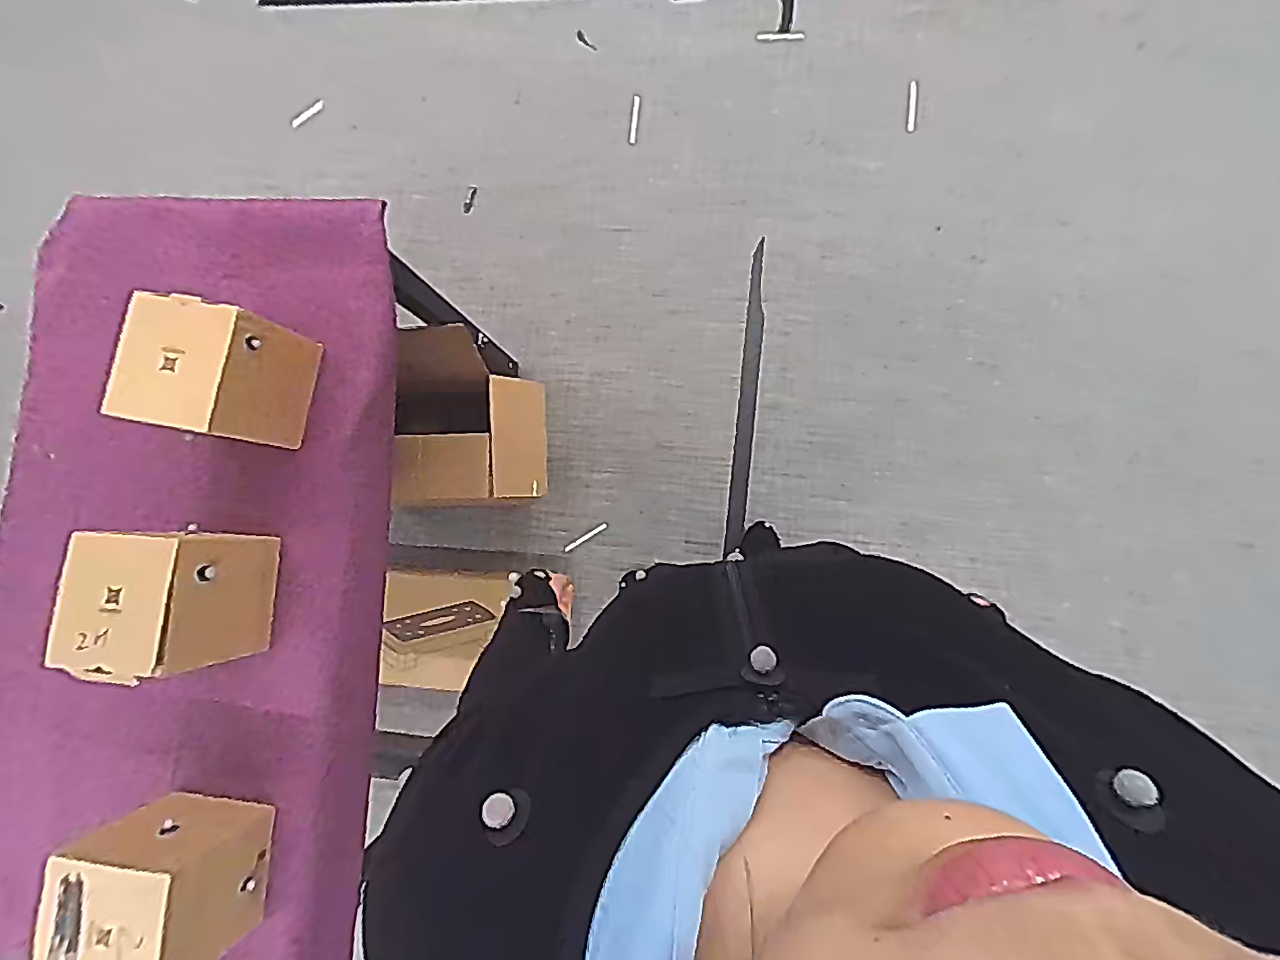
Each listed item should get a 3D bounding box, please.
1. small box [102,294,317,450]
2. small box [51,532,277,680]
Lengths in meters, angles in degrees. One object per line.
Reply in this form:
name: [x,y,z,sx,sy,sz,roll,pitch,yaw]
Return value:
small box: [-0.615,-0.147,0.795,0.168,0.176,0.179,10,85,7]
small box: [-0.657,0.167,0.768,0.168,0.176,0.179,2,85,9]
